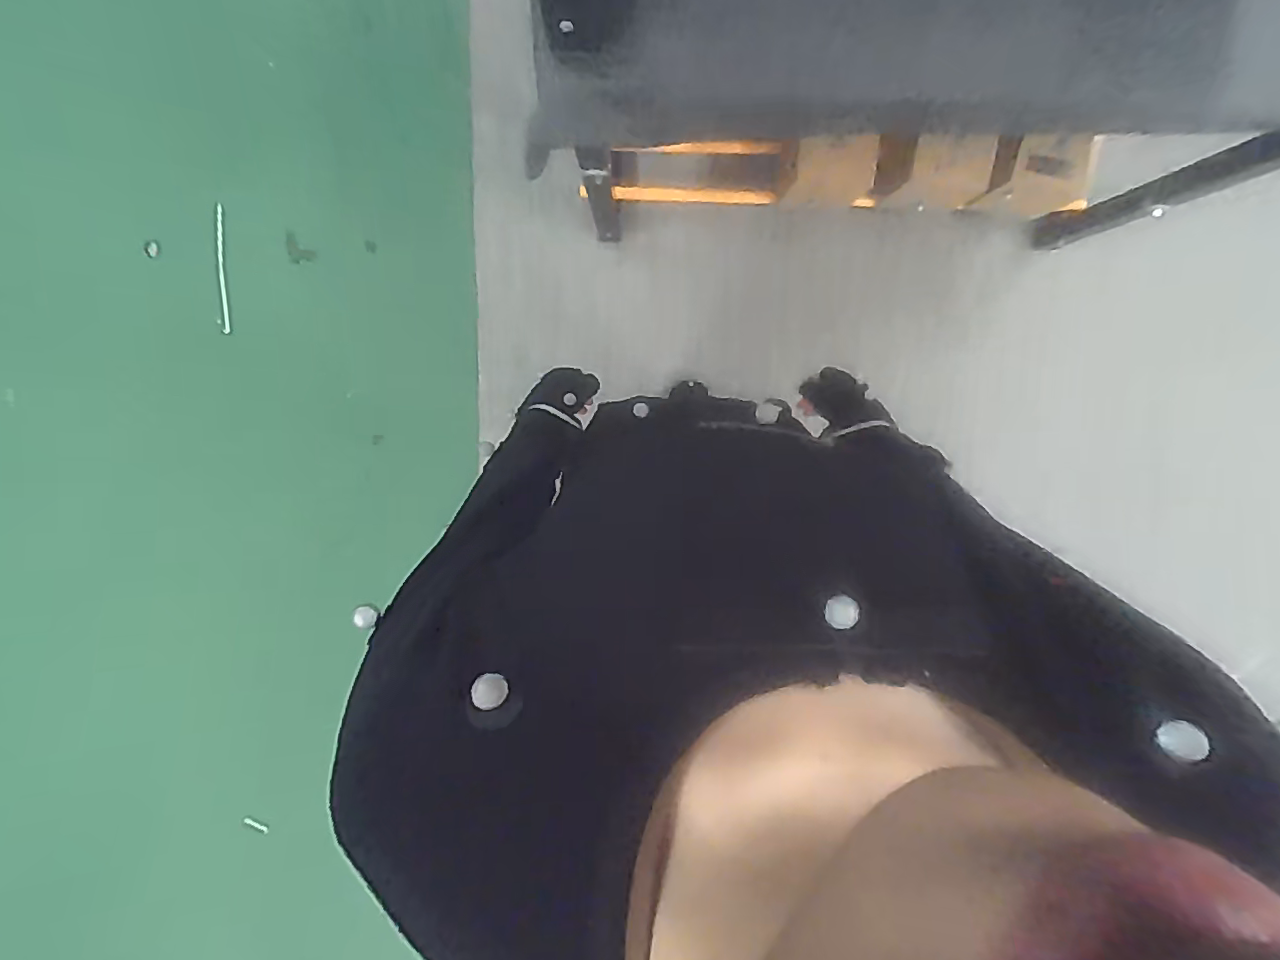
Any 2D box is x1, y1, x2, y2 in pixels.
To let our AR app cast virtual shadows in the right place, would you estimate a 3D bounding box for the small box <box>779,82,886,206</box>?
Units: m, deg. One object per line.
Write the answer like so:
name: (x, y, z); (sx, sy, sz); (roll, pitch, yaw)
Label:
small box: (0.408, -0.720, 1.174); (0.168, 0.176, 0.179); (3, 101, -1)
